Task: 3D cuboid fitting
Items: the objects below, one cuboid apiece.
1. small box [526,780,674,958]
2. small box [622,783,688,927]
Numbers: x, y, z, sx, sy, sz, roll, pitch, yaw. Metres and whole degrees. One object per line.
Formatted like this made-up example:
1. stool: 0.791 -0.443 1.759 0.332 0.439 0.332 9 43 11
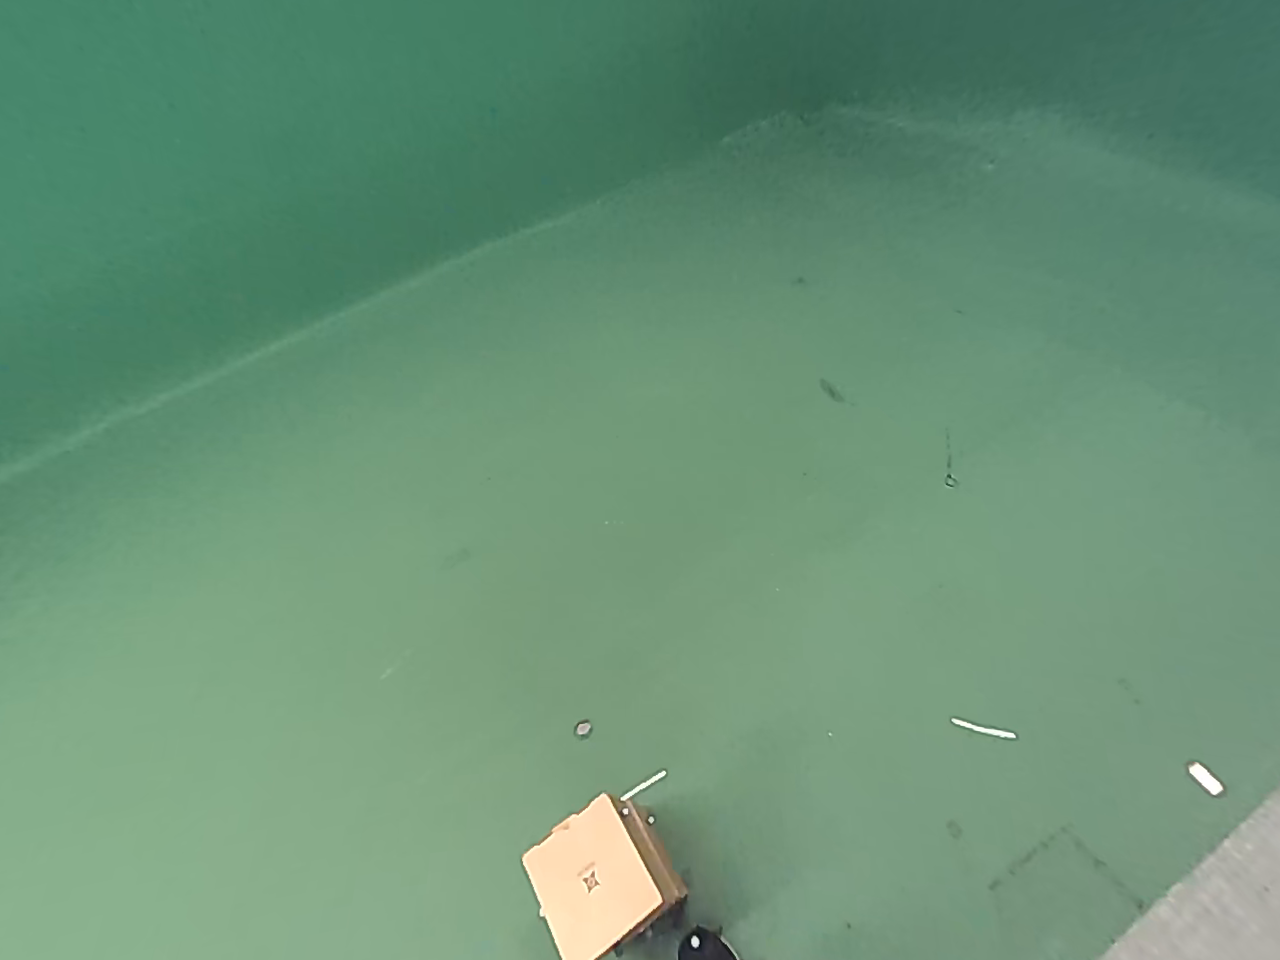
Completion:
1. small box: -0.059 0.641 0.909 0.168 0.176 0.179 -34 54 -11
2. small box: -0.026 0.726 1.044 0.168 0.176 0.179 -33 56 -11
